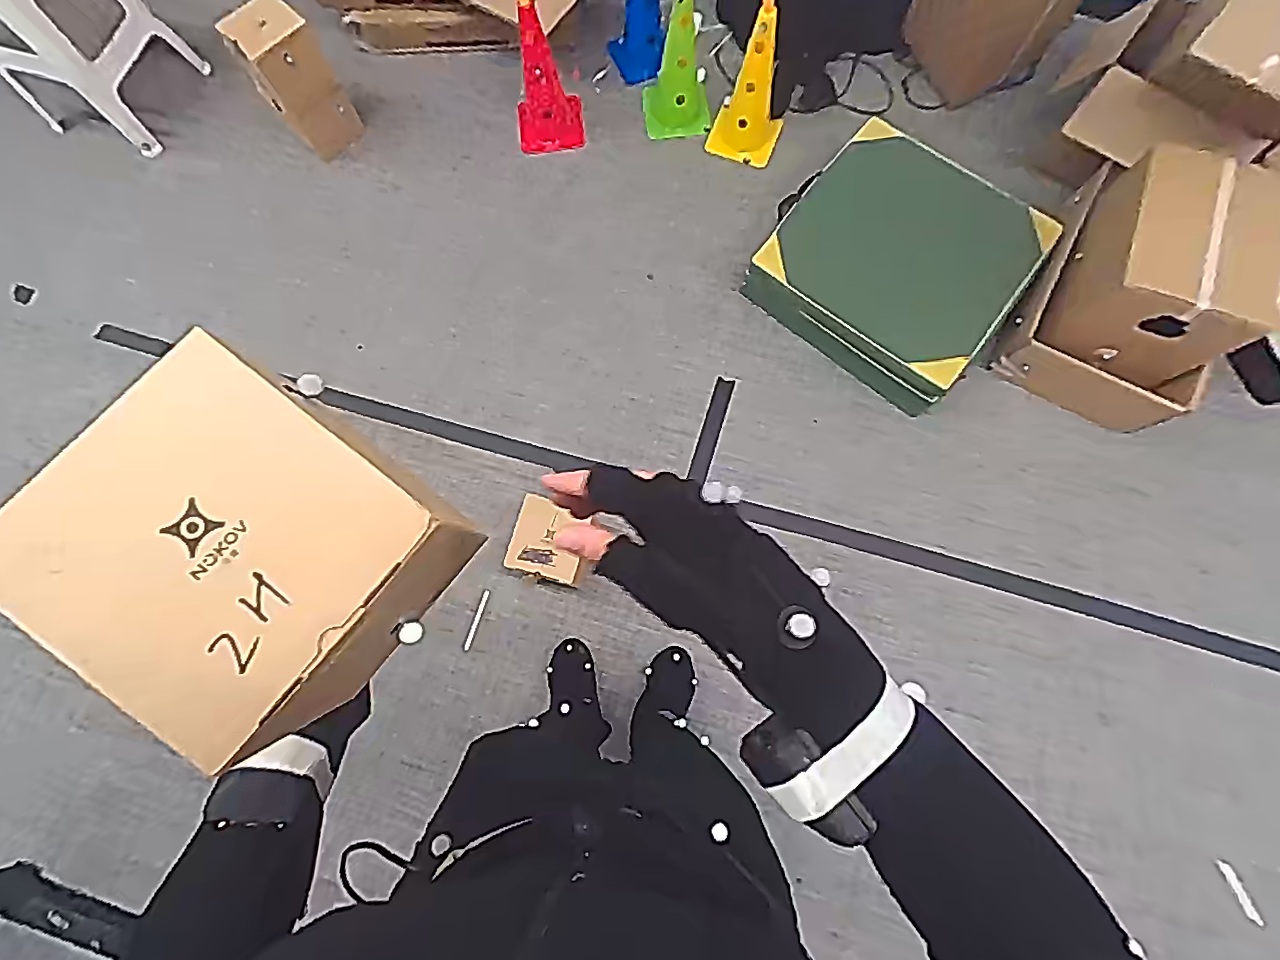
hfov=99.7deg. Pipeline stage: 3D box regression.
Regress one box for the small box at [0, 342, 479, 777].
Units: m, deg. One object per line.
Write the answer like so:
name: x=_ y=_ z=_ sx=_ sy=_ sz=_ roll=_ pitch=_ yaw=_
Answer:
small box: x=-0.238 y=0.047 z=0.365 sx=0.179 sy=0.176 sz=0.168 roll=43 pitch=80 yaw=-1

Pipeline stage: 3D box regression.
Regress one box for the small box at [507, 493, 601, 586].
small box: x=-0.197 y=0.150 z=1.306 sx=0.168 sy=0.176 sz=0.179 roll=15 pitch=76 yaw=5
